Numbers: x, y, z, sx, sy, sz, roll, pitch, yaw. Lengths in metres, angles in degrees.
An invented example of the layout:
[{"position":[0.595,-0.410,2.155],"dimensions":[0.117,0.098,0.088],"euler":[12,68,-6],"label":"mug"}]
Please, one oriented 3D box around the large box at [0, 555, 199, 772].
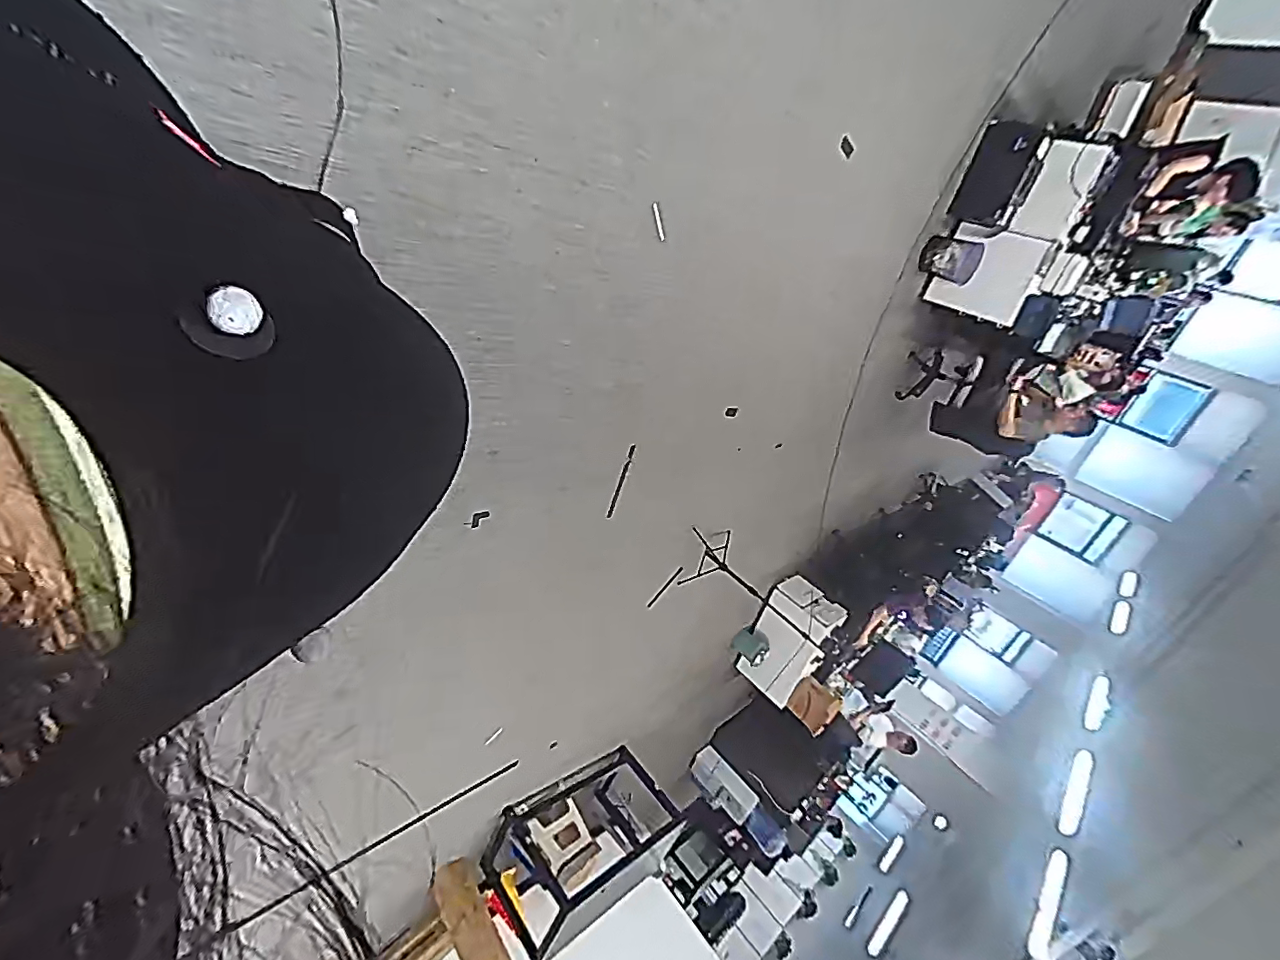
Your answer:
[{"position":[-1.308,0.401,1.239],"dimensions":[0.408,0.320,0.320],"euler":[-1,121,-49],"label":"large box"}]
